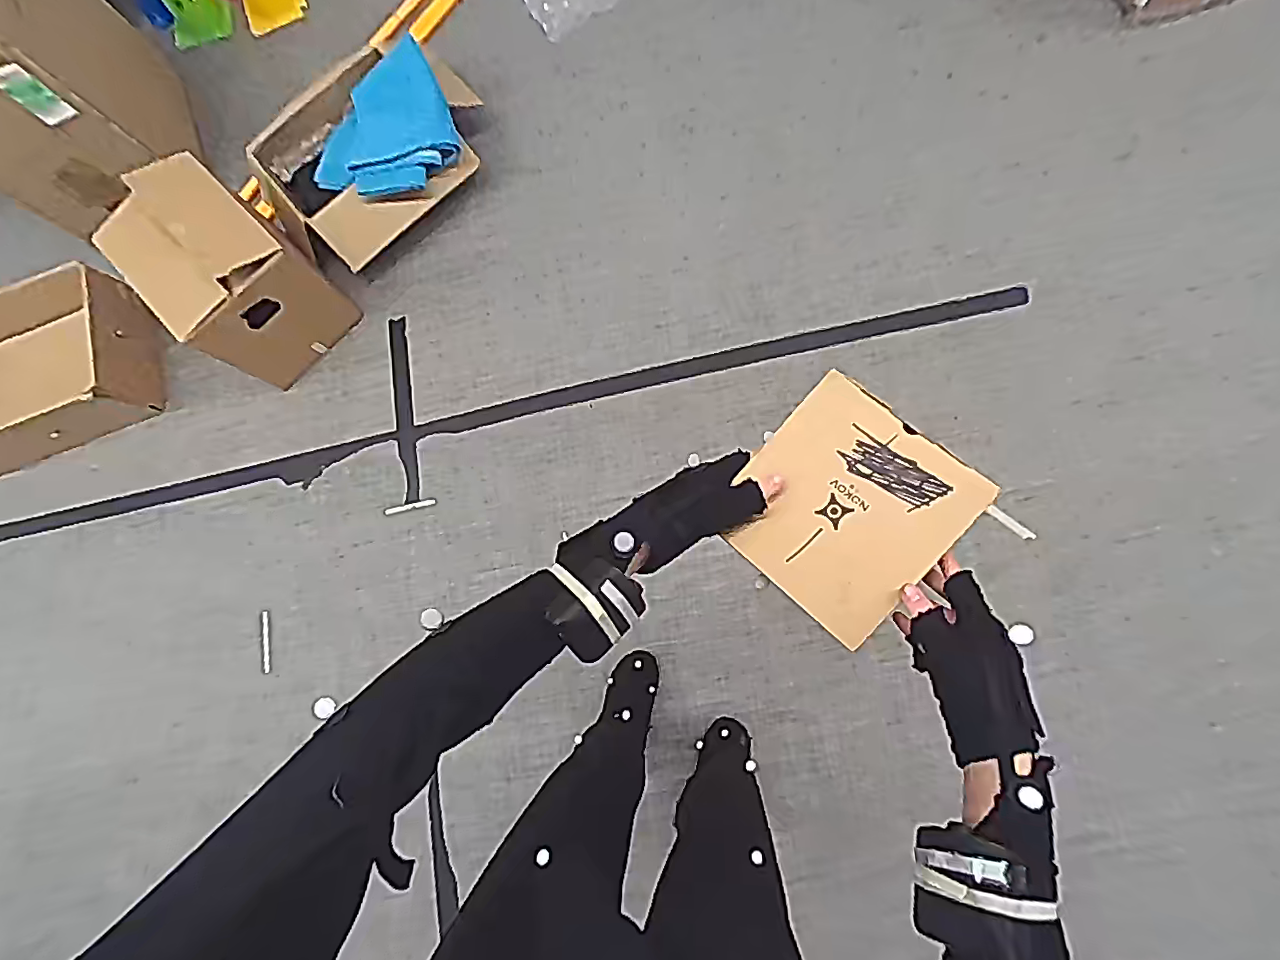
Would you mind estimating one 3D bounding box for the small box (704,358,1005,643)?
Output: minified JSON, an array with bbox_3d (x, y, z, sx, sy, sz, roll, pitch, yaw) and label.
[{"bbox_3d":[0.184,0.023,0.512,0.168,0.176,0.179,42,93,17],"label":"small box"}]
